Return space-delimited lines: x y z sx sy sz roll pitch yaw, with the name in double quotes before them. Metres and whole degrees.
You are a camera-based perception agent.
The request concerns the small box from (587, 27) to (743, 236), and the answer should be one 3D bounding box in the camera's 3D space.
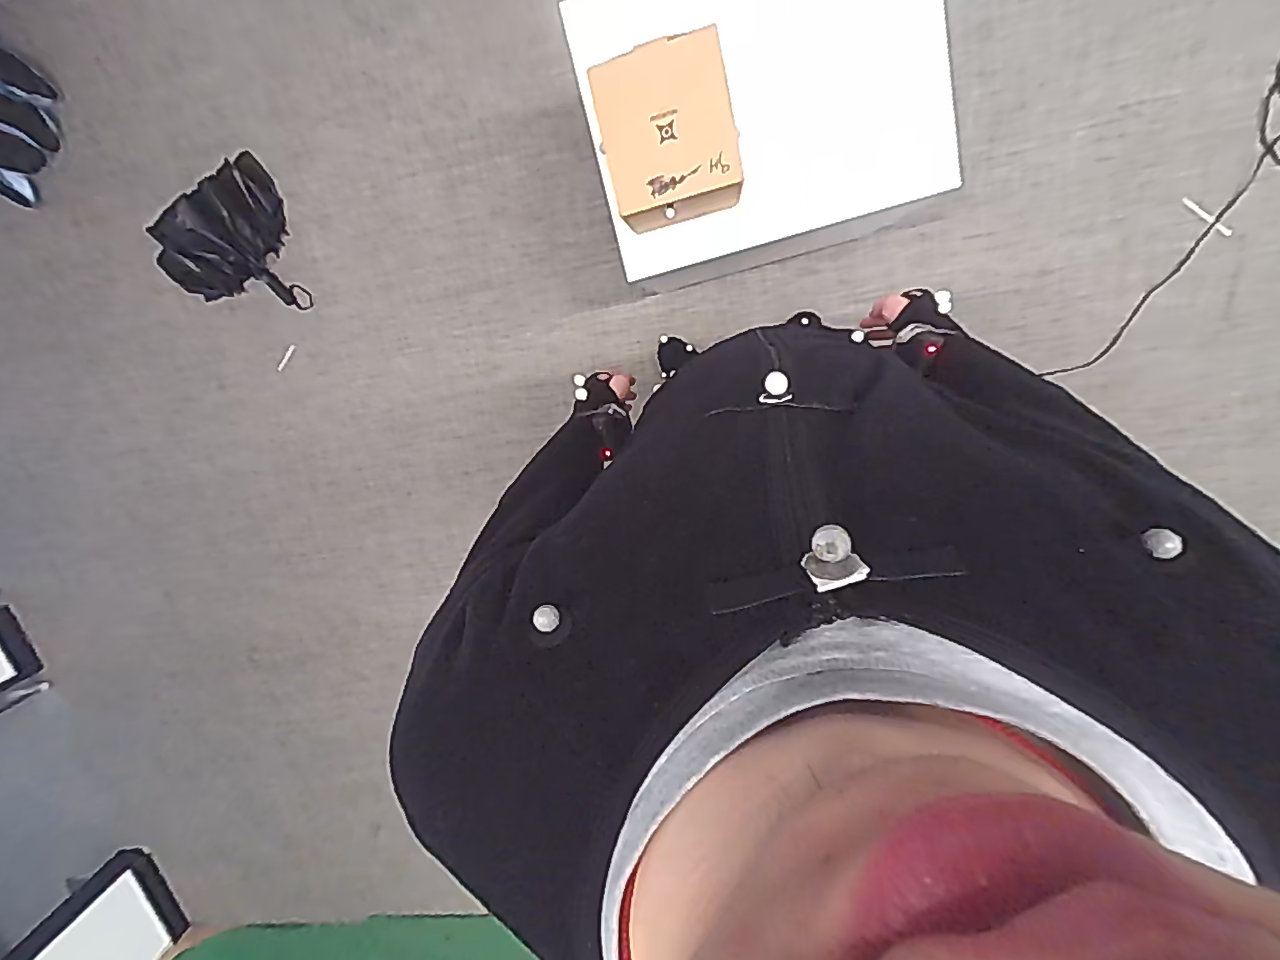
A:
"small box" 0.039 -0.460 0.746 0.168 0.176 0.179 -12 104 10
